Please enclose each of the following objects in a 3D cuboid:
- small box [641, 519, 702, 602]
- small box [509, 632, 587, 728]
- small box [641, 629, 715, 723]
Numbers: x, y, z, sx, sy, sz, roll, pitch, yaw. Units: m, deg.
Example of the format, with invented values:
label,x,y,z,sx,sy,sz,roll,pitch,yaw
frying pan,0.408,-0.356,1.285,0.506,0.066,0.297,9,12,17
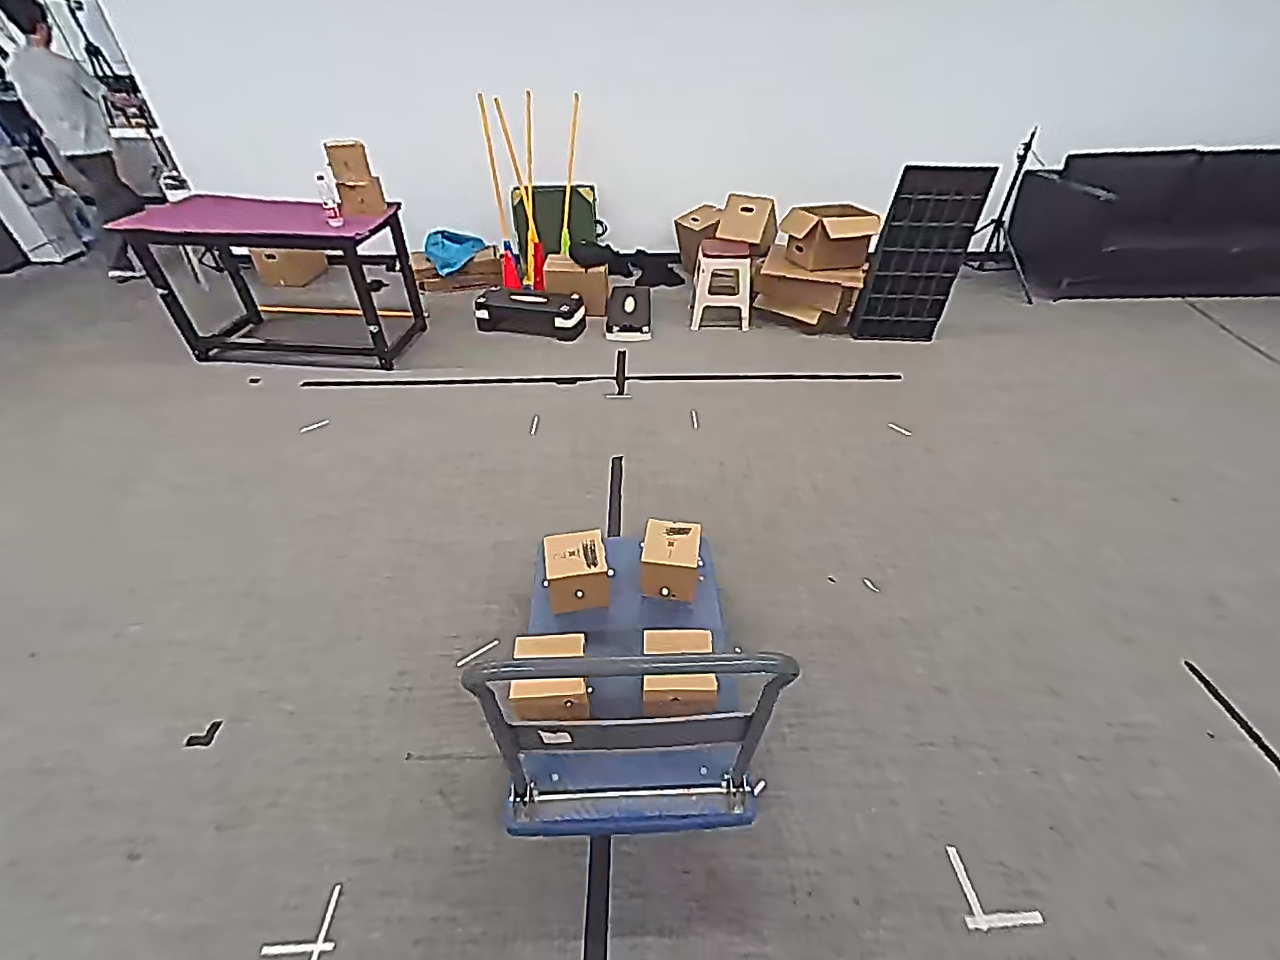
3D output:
label,x,y,z,sx,sy,sz,roll,pitch,yaw
small box,0.094,0.246,1.662,0.168,0.176,0.179,6,42,6
small box,-0.224,0.505,1.359,0.179,0.176,0.168,-2,41,-5
small box,0.092,0.498,1.370,0.179,0.176,0.168,1,41,0
